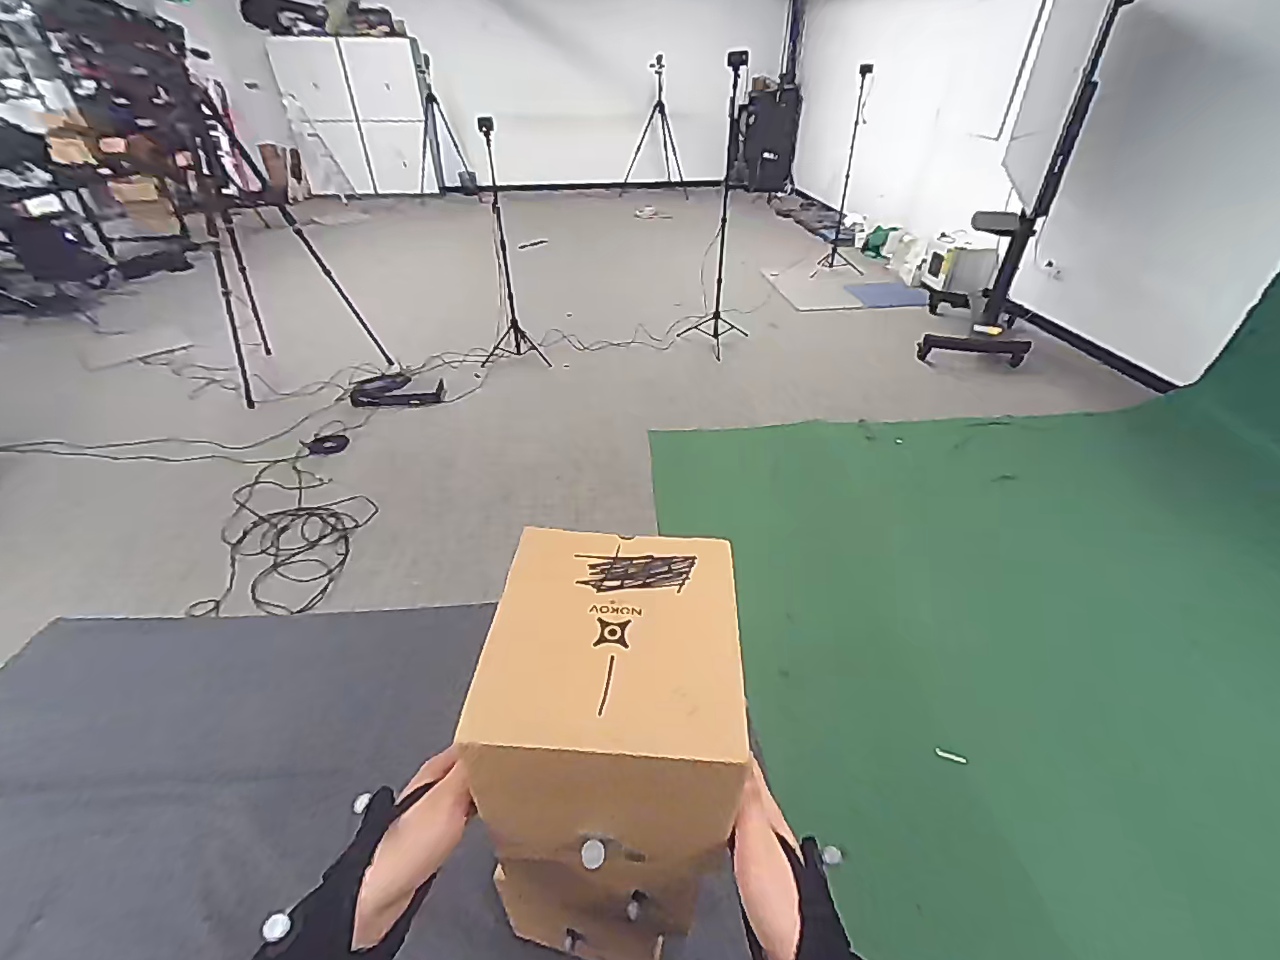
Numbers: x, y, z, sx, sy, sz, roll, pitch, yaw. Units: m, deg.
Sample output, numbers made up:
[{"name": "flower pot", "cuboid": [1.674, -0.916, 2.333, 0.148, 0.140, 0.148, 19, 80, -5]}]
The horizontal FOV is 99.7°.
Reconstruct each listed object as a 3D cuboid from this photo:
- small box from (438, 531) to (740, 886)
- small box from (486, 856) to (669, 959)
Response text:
[{"name": "small box", "cuboid": [-0.024, 0.161, 0.398, 0.168, 0.176, 0.179, 2, 38, 3]}, {"name": "small box", "cuboid": [-0.047, 0.414, 0.609, 0.168, 0.176, 0.179, 9, 36, 12]}]
